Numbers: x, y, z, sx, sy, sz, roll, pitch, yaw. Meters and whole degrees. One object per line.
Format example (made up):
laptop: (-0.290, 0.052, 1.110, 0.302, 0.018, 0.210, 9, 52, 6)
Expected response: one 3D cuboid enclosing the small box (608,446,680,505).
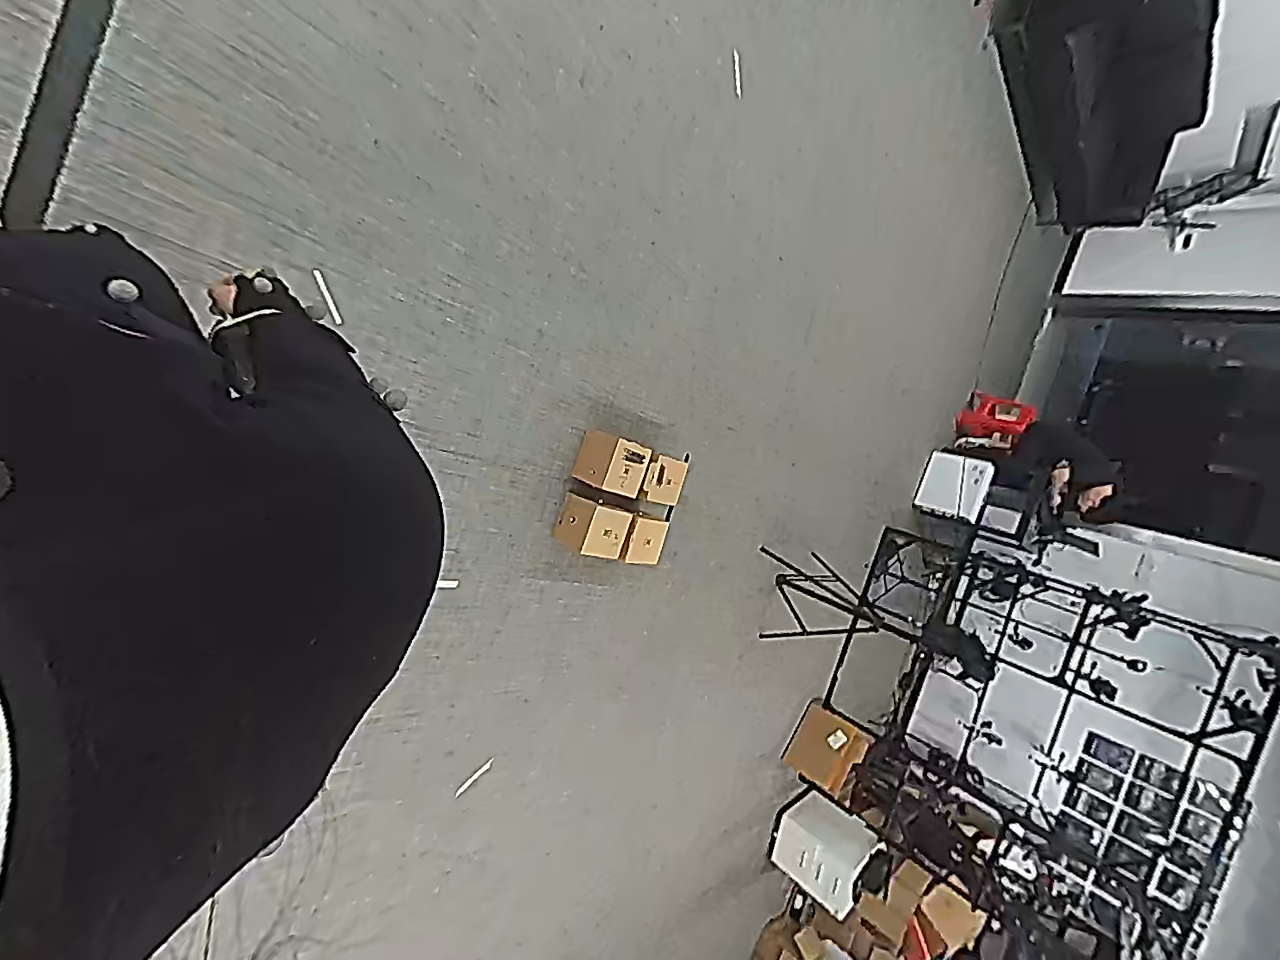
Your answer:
small box: (0.012, -0.019, 1.976, 0.179, 0.176, 0.168, 15, 94, -49)
